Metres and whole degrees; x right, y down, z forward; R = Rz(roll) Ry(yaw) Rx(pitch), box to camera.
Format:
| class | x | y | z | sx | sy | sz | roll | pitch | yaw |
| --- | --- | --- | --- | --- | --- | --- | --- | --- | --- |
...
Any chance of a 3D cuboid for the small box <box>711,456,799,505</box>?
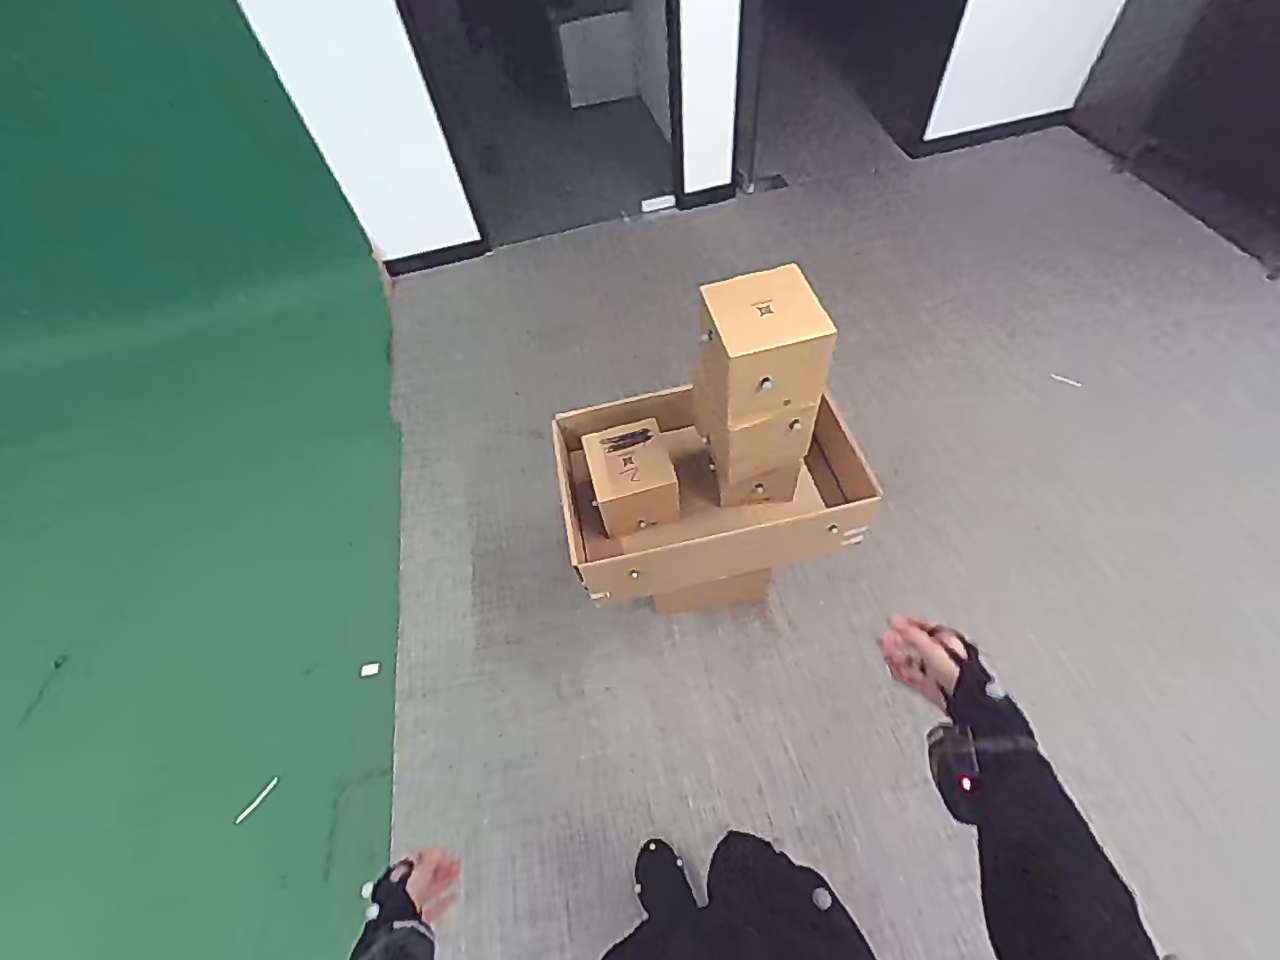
| class | x | y | z | sx | sy | sz | roll | pitch | yaw |
| --- | --- | --- | --- | --- | --- | --- | --- | --- | --- |
| small box | 0.241 | -0.054 | 1.183 | 0.168 | 0.176 | 0.179 | -4 | 57 | 3 |

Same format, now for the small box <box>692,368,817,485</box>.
| class | x | y | z | sx | sy | sz | roll | pitch | yaw |
| --- | --- | --- | --- | --- | --- | --- | --- | --- | --- |
| small box | 0.209 | -0.119 | 1.033 | 0.179 | 0.176 | 0.168 | -20 | 56 | -6 |

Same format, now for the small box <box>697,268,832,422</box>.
| class | x | y | z | sx | sy | sz | roll | pitch | yaw |
| --- | --- | --- | --- | --- | --- | --- | --- | --- | --- |
| small box | 0.199 | -0.216 | 0.903 | 0.168 | 0.176 | 0.179 | -14 | 55 | -1 |
